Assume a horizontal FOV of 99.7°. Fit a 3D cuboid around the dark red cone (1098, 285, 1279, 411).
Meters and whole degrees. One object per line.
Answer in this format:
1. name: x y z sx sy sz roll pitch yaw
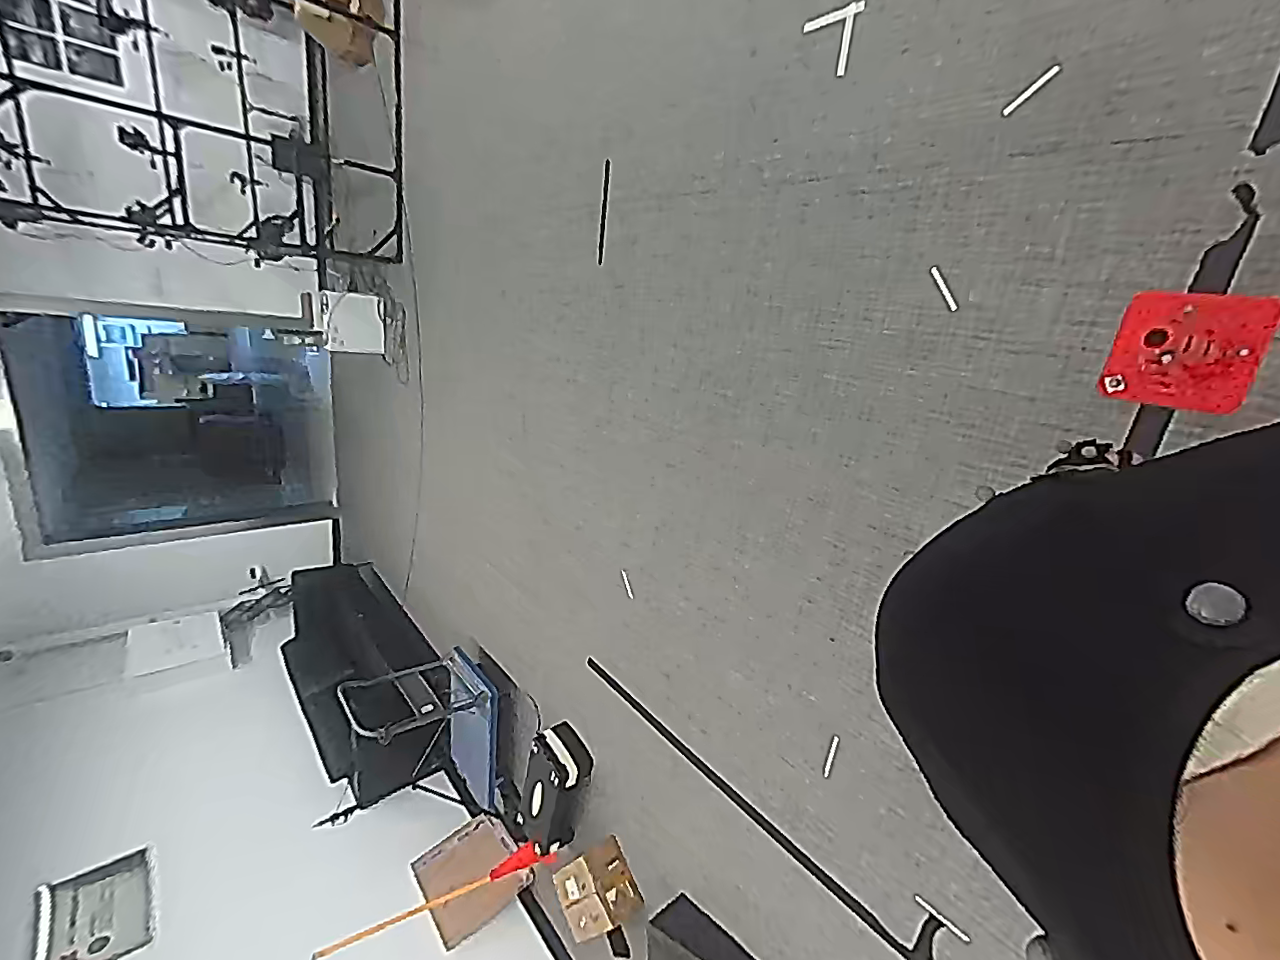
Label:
1. dark red cone: 0.841 -0.221 0.850 0.201 0.394 0.202 24 113 44
